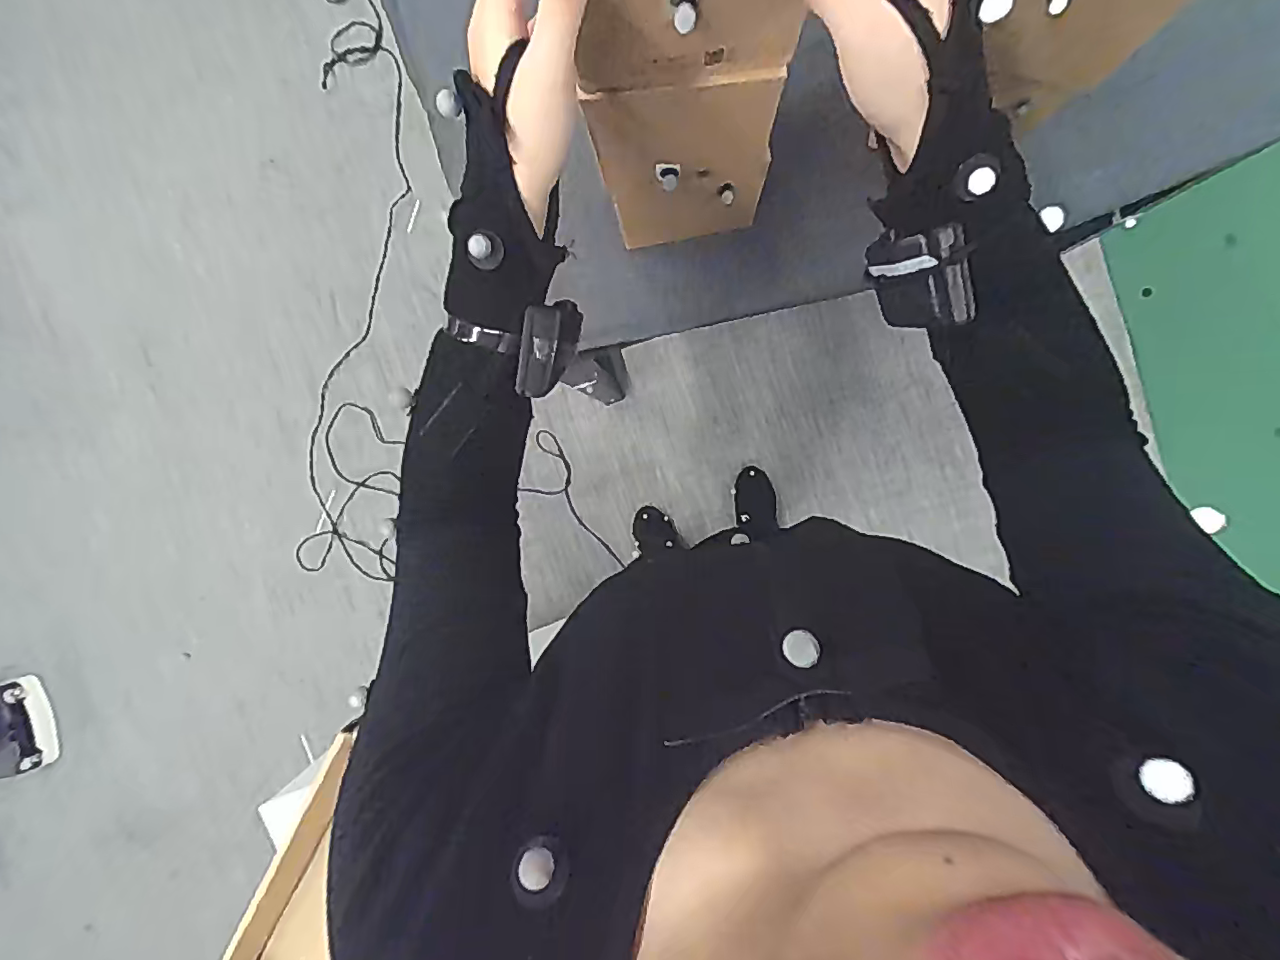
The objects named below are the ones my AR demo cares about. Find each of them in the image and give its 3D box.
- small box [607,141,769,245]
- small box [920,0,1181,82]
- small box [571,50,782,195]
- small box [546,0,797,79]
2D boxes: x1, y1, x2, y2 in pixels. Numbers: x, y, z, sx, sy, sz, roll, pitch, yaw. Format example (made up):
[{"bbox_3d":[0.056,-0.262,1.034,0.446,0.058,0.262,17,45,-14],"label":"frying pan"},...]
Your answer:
[{"bbox_3d":[0.047,-0.408,0.655,0.179,0.176,0.168,-9,92,6],"label":"small box"},{"bbox_3d":[0.375,-0.481,0.454,0.179,0.176,0.168,15,94,4],"label":"small box"},{"bbox_3d":[0.032,-0.392,0.494,0.168,0.176,0.179,-3,94,7],"label":"small box"},{"bbox_3d":[0.016,-0.384,0.330,0.168,0.176,0.179,-5,96,6],"label":"small box"}]
